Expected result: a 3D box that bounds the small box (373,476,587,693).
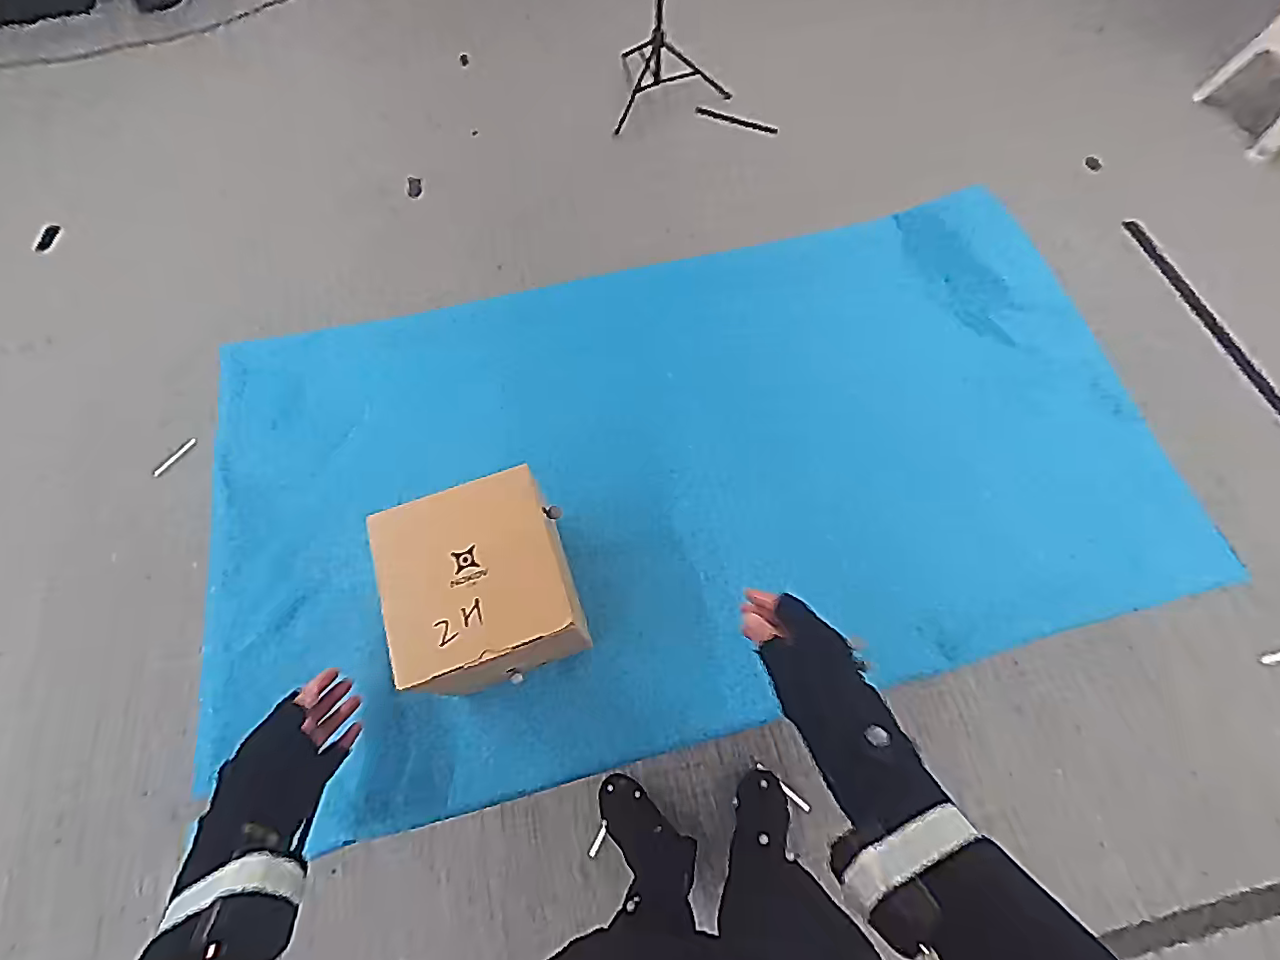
[{"bbox_3d":[-0.163,0.121,0.586,0.168,0.176,0.179,-16,70,-4],"label":"small box"}]
